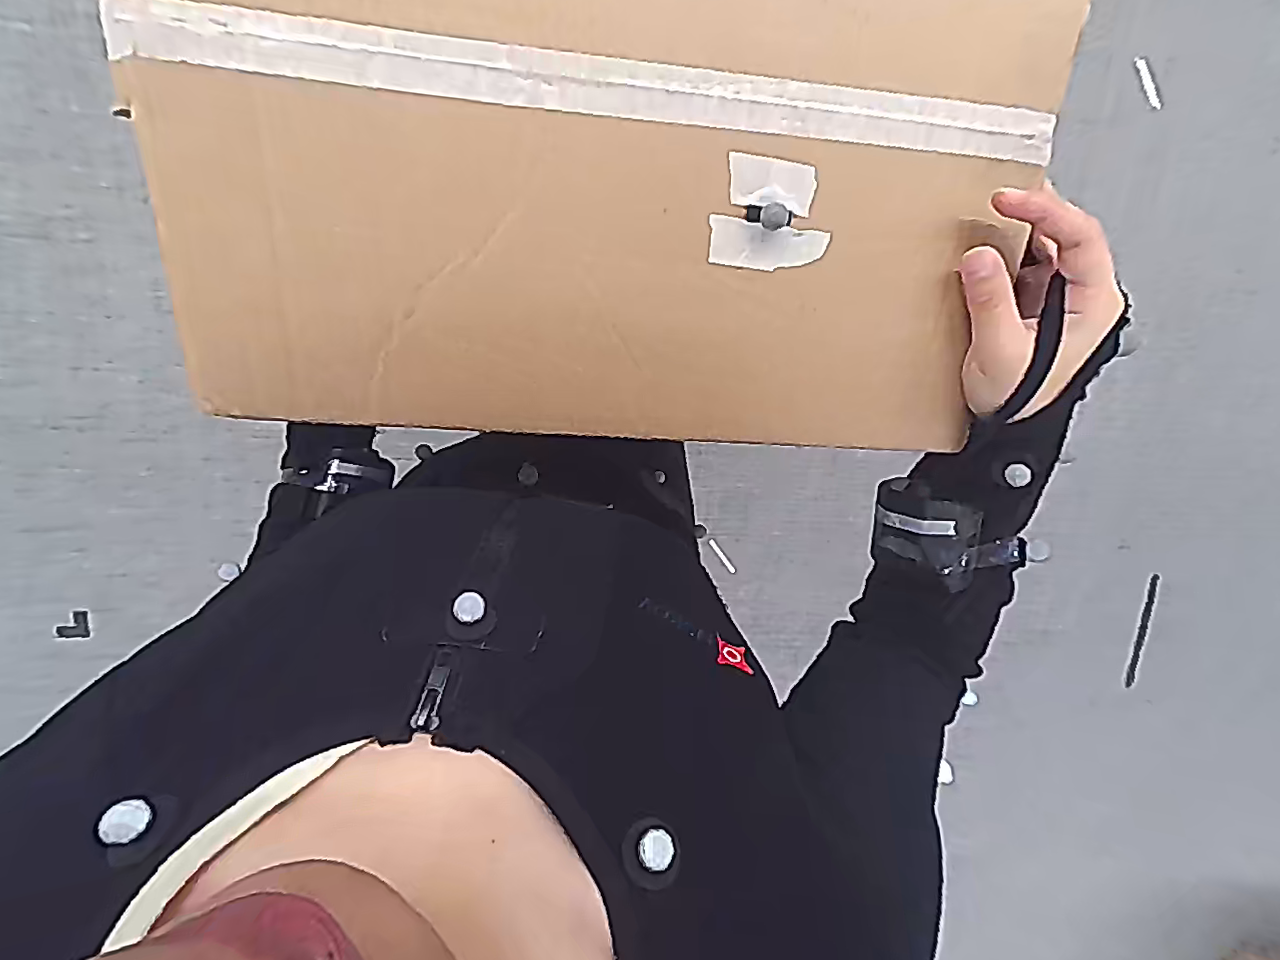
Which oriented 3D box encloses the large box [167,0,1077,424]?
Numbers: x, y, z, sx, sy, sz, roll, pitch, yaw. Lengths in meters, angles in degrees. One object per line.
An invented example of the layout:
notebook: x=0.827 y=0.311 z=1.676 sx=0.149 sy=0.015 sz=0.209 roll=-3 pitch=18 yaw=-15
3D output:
large box: x=-0.016 y=-0.229 z=0.386 sx=0.408 sy=0.320 sz=0.320 roll=2 pitch=110 yaw=-8
